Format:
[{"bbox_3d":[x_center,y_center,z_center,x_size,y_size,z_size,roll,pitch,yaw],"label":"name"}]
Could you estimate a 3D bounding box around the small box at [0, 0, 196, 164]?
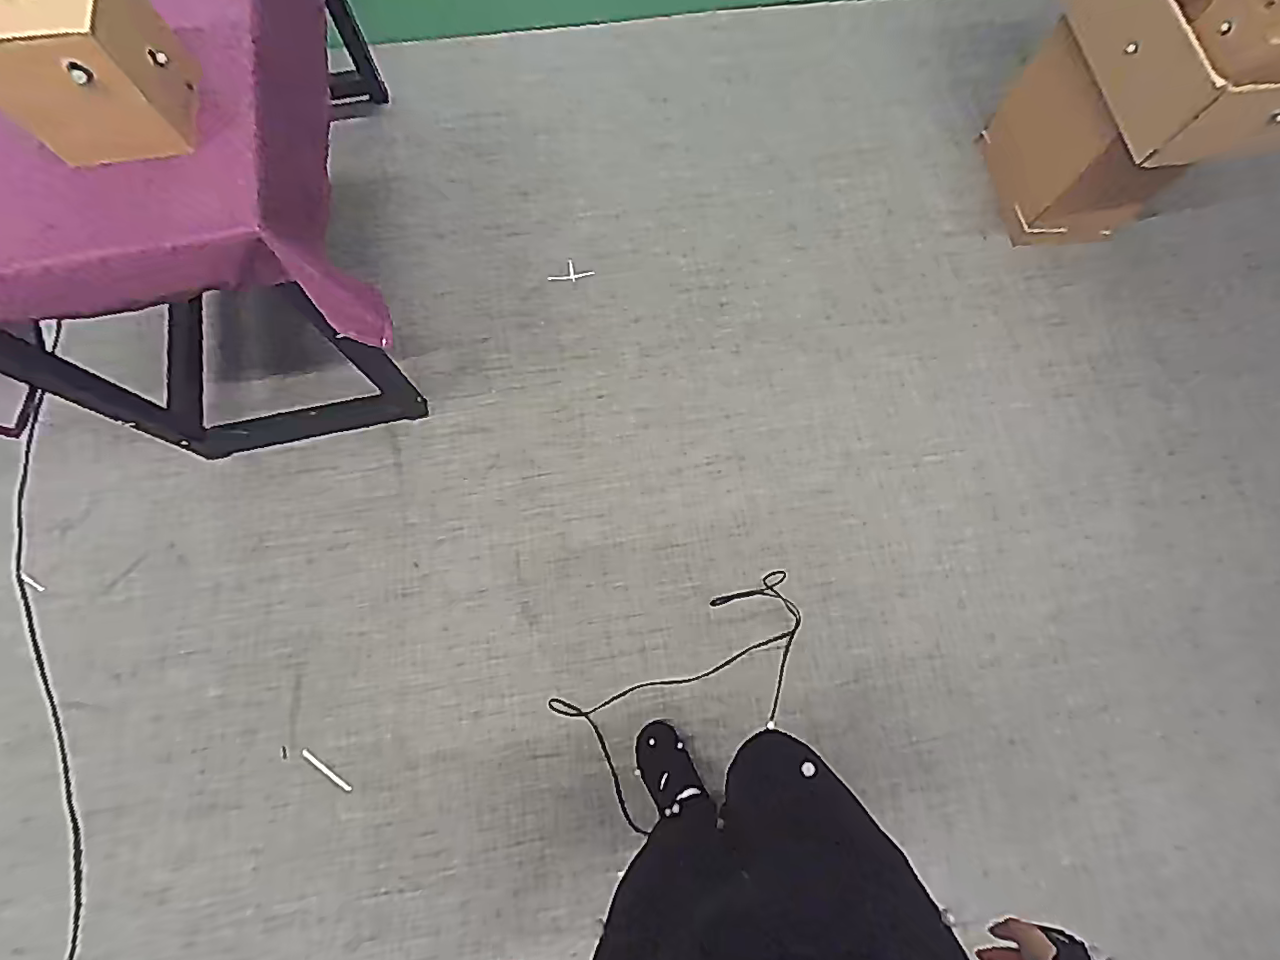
[{"bbox_3d":[-0.743,-0.560,0.722,0.179,0.176,0.168,-9,74,-3],"label":"small box"}]
